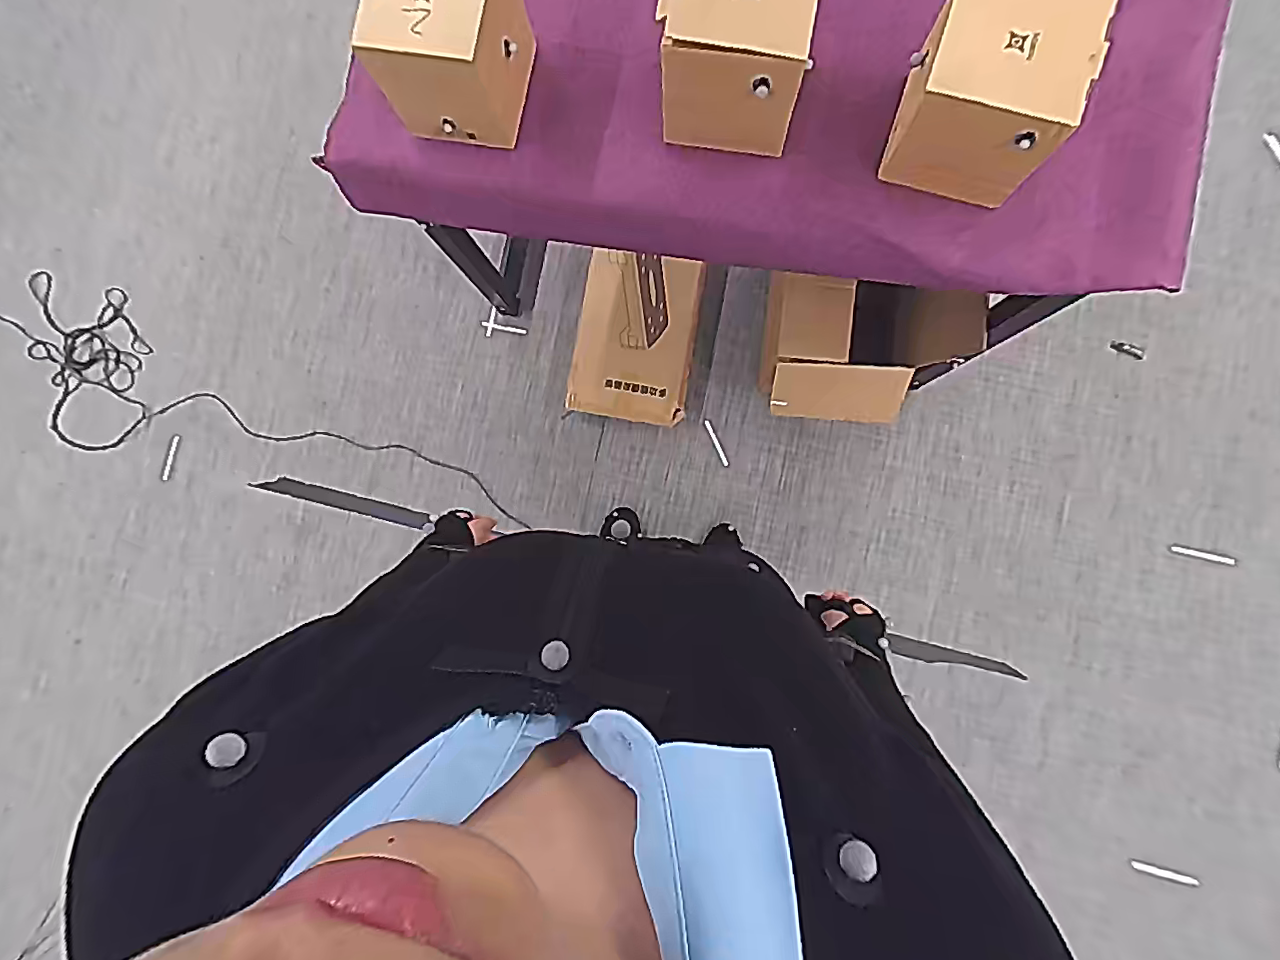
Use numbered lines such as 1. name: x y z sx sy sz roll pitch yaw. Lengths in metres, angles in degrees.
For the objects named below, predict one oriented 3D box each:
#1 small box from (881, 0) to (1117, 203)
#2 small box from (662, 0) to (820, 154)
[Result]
1. small box: 0.437 -0.489 0.691 0.179 0.176 0.168 18 88 5
2. small box: 0.131 -0.570 0.719 0.179 0.176 0.168 10 85 5
